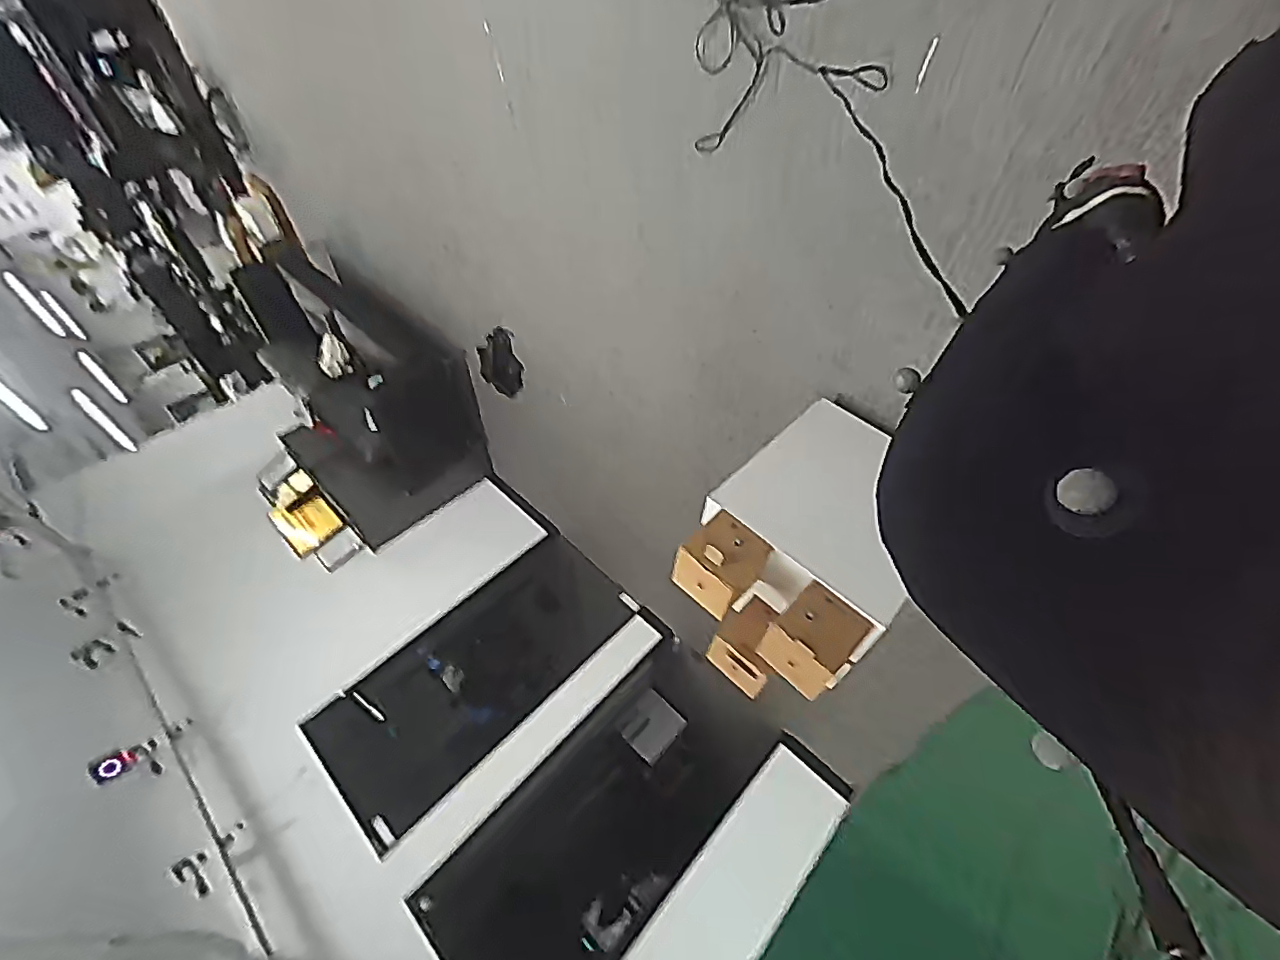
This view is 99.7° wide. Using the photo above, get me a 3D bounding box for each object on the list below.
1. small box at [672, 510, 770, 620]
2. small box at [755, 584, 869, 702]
[{"bbox_3d":[0.203,0.212,1.364,0.168,0.176,0.179,39,149,24],"label":"small box"},{"bbox_3d":[0.399,0.373,1.253,0.168,0.176,0.179,41,151,24],"label":"small box"}]
